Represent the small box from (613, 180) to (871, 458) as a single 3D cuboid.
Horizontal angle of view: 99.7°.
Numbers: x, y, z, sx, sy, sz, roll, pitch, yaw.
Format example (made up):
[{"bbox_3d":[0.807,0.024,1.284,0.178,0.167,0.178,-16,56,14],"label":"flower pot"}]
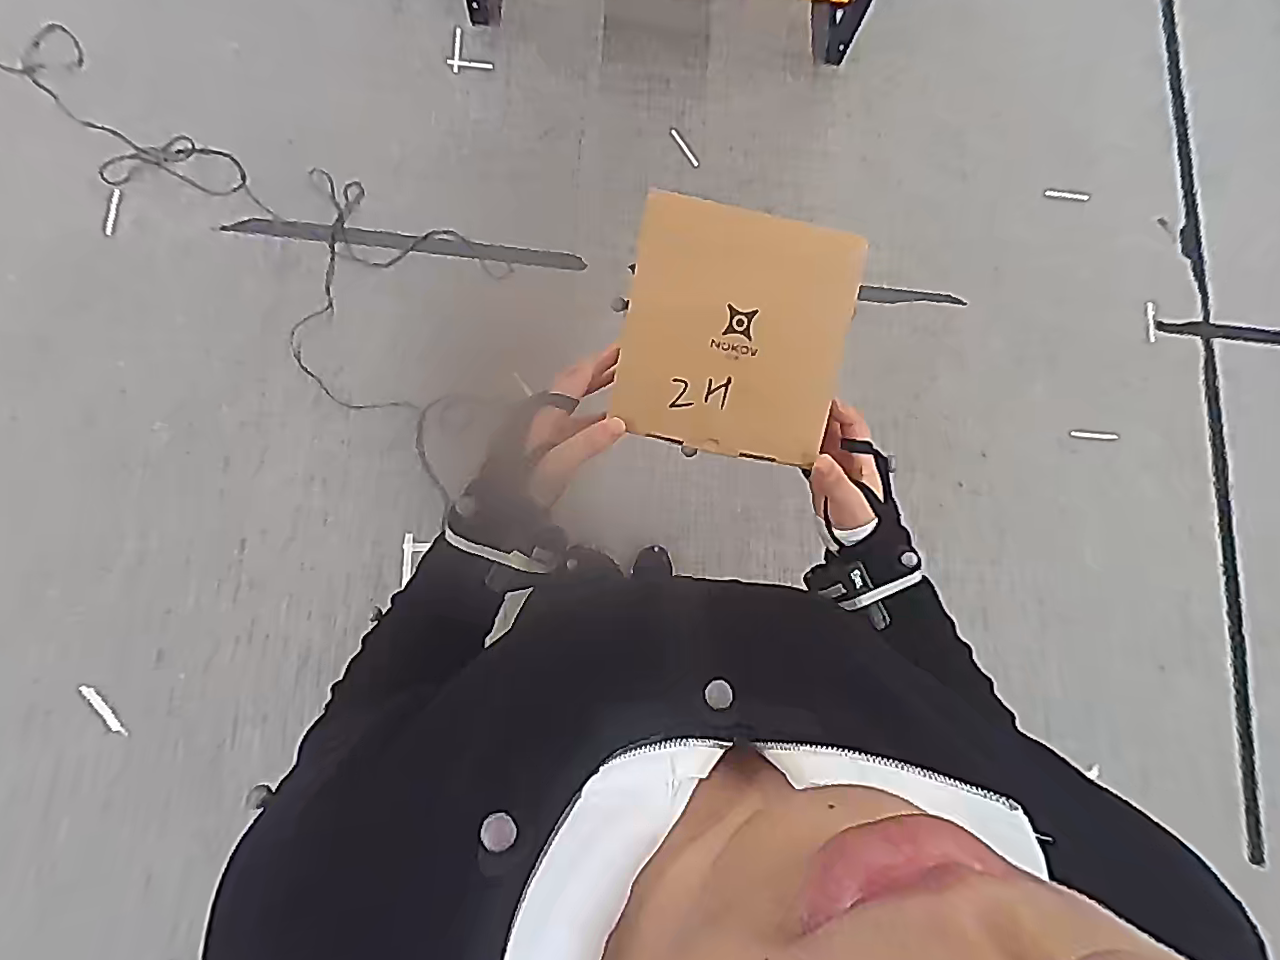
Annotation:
[{"bbox_3d":[0.072,-0.126,0.480,0.168,0.176,0.179,11,98,-3],"label":"small box"}]
